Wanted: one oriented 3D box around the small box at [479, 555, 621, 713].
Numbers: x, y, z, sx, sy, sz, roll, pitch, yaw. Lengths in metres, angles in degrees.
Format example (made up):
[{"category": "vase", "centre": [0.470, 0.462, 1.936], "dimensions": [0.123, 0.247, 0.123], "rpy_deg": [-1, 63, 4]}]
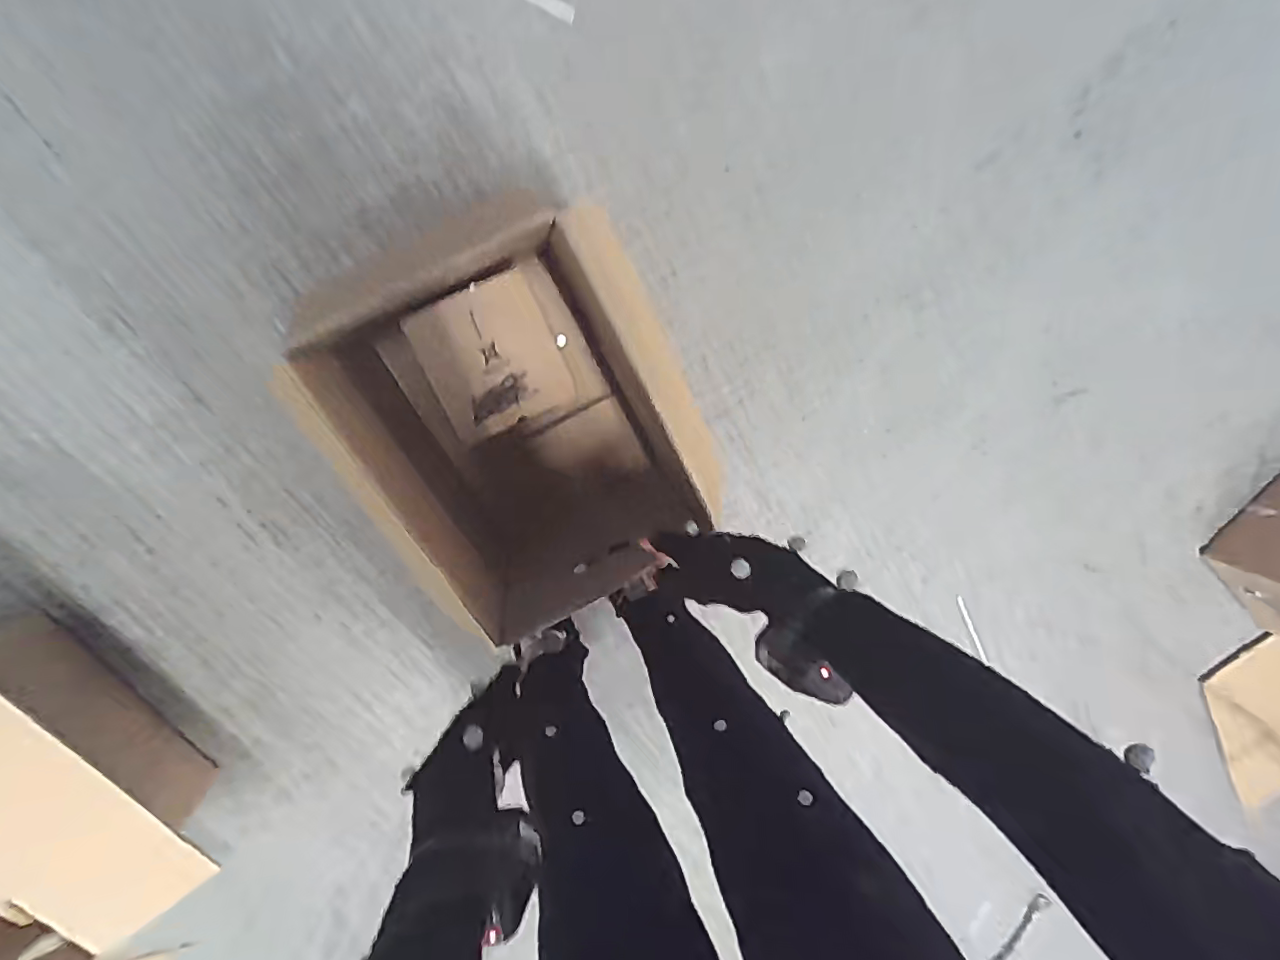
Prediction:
[{"category": "small box", "centre": [-0.159, 0.264, 0.952], "dimensions": [0.179, 0.176, 0.168], "rpy_deg": [31, 106, 3]}]
